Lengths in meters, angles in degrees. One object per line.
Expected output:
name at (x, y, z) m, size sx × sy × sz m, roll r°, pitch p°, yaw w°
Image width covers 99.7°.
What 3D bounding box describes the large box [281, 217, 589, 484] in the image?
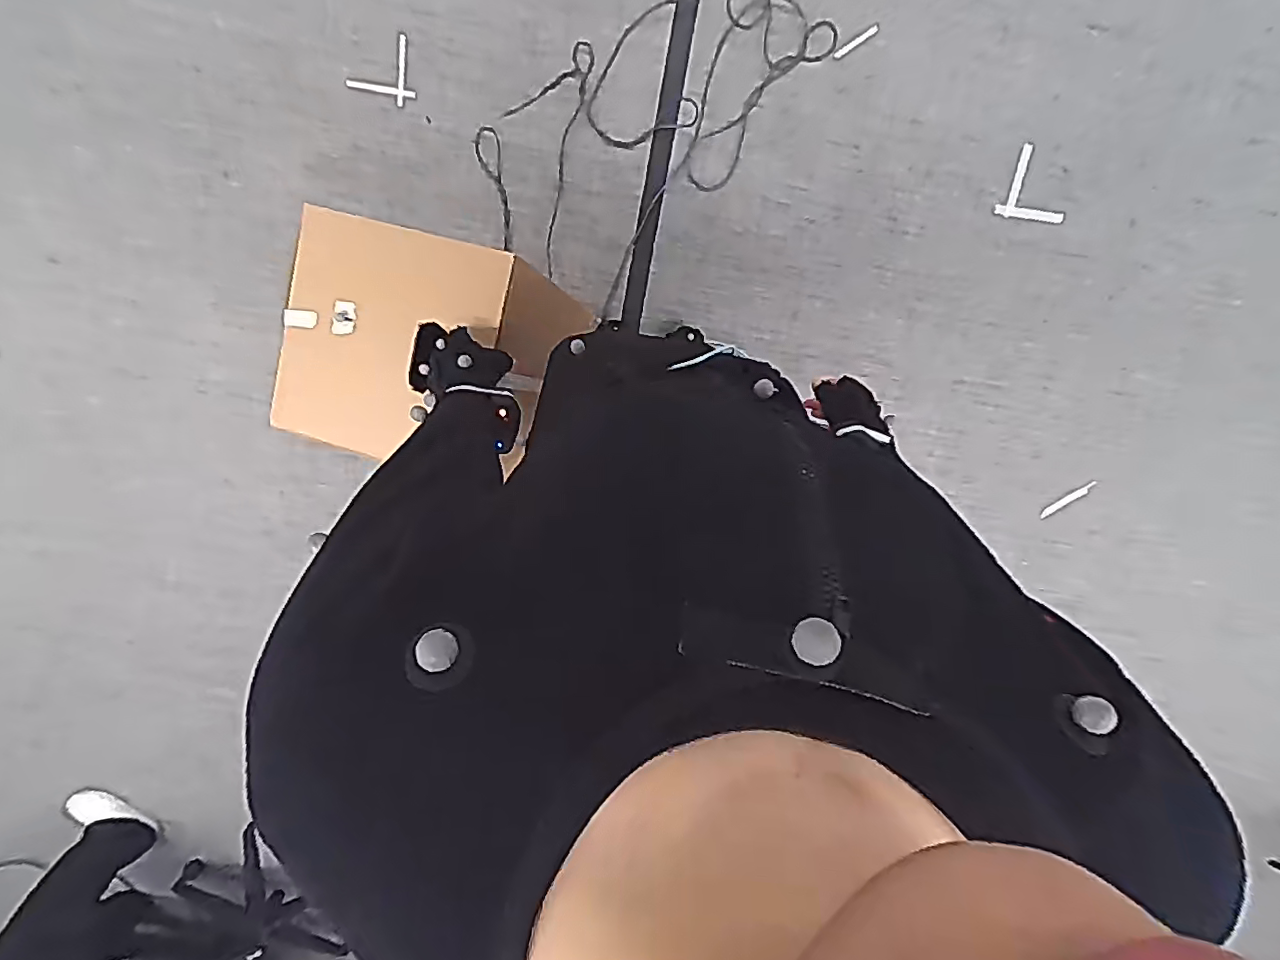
large box at (-0.318, -0.206, 0.934) m, size 0.320 × 0.408 × 0.320 m, roll 18°, pitch 99°, yaw 8°
